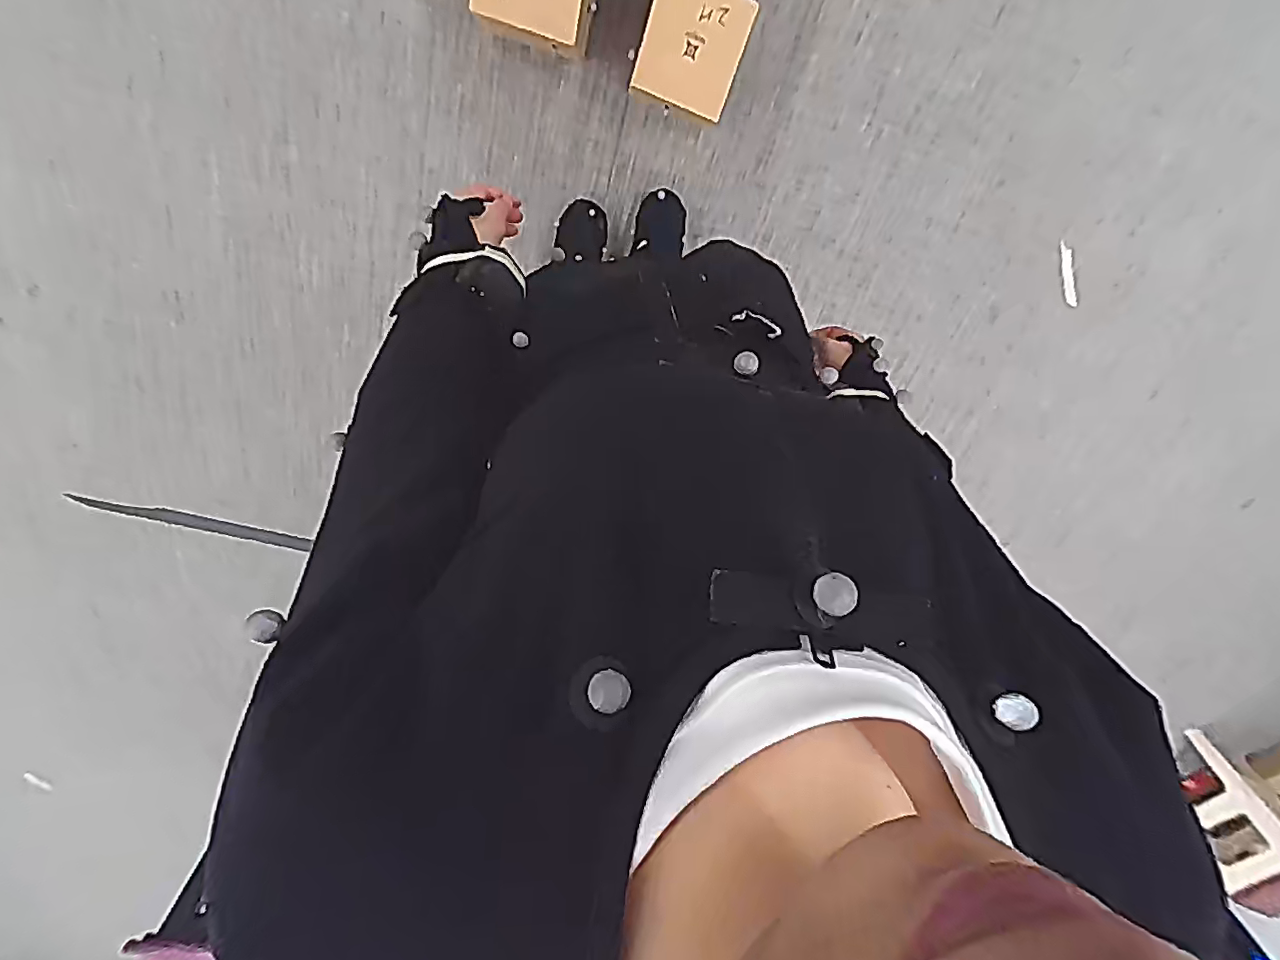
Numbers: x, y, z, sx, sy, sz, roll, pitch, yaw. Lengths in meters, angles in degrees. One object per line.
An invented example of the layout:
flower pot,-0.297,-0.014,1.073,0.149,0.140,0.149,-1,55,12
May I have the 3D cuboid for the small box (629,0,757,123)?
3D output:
small box,0.084,-0.765,0.965,0.168,0.176,0.179,16,119,-12
